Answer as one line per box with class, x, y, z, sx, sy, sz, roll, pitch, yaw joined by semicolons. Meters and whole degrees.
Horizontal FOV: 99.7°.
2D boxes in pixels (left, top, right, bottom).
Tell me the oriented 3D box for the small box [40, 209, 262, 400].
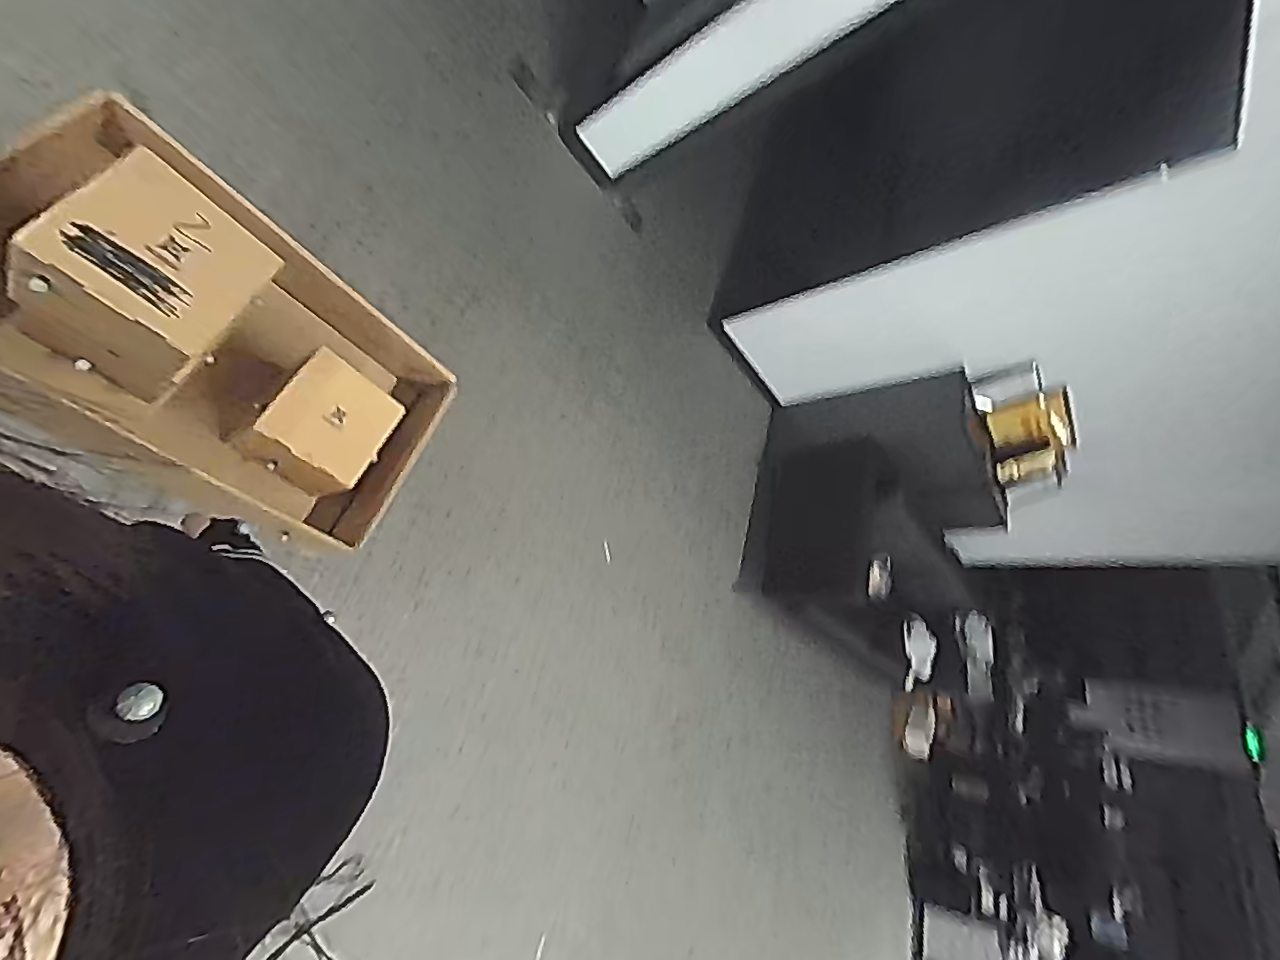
small box;-0.699;-0.240;0.775;0.168;0.176;0.179;42;56;-37
